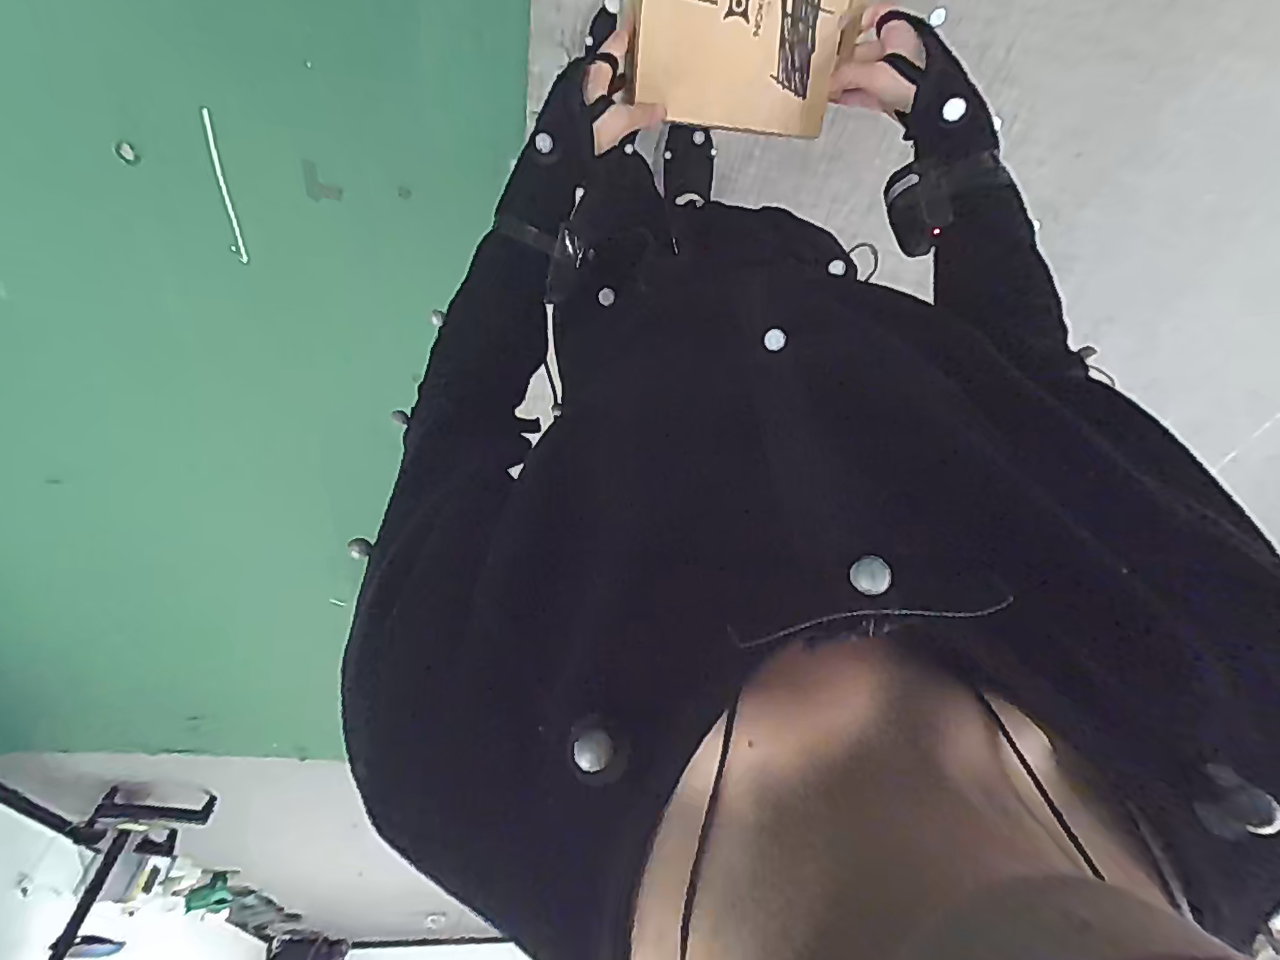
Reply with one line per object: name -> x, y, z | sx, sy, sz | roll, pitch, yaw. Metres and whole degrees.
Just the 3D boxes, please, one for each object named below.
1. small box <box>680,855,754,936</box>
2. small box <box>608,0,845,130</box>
small box -> 0.228, 1.272, 1.661 | 0.168, 0.176, 0.179 | 8, 130, -12
small box -> 0.070, -0.429, 0.493 | 0.179, 0.176, 0.168 | 1, 123, -10
